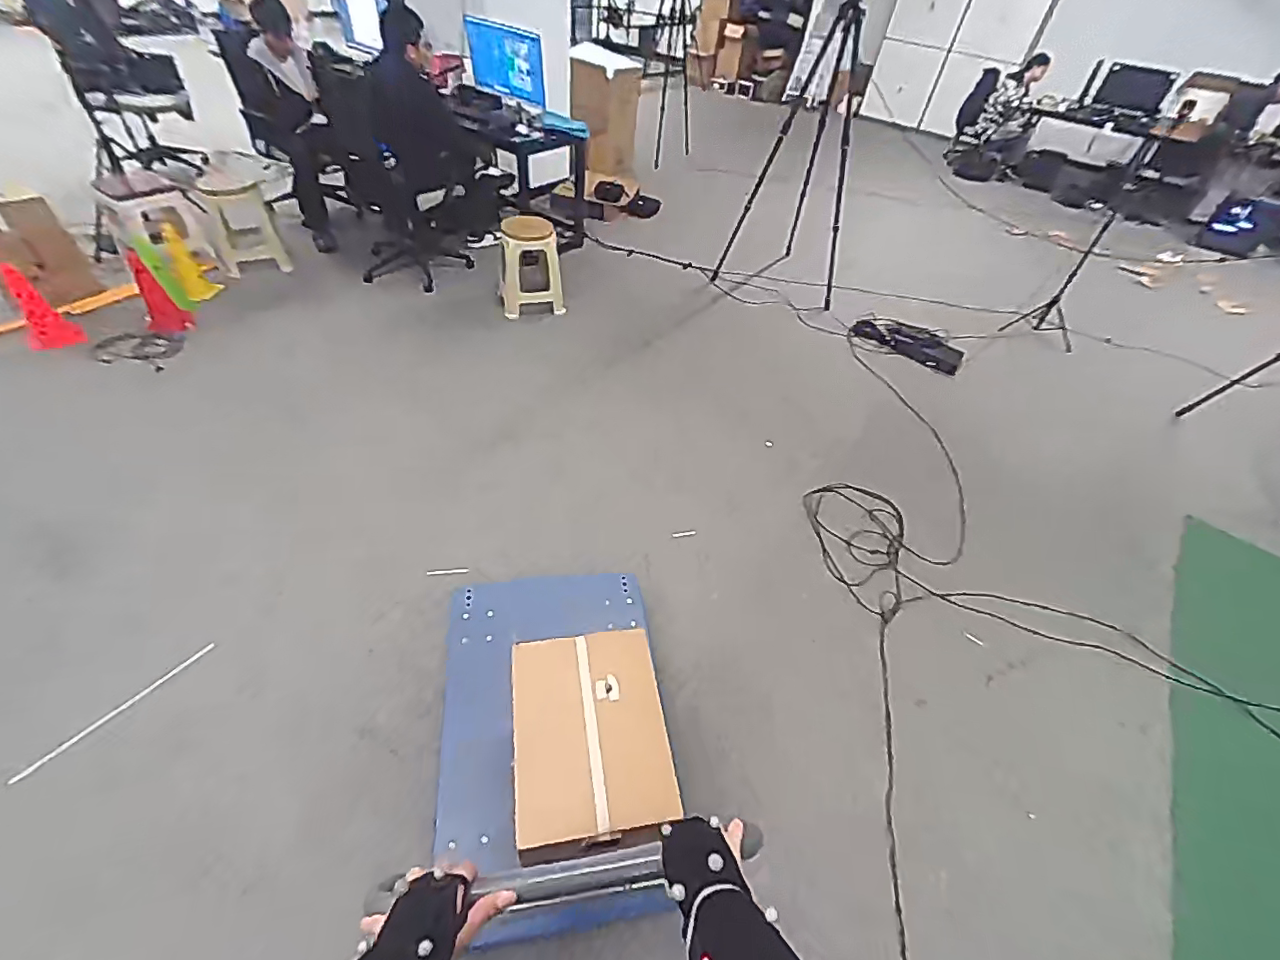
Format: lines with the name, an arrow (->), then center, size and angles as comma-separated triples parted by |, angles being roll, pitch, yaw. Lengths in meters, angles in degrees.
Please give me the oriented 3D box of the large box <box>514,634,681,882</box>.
large box -> -0.117, 0.629, 1.247 | 0.320, 0.320, 0.408 | -3, 45, -11
